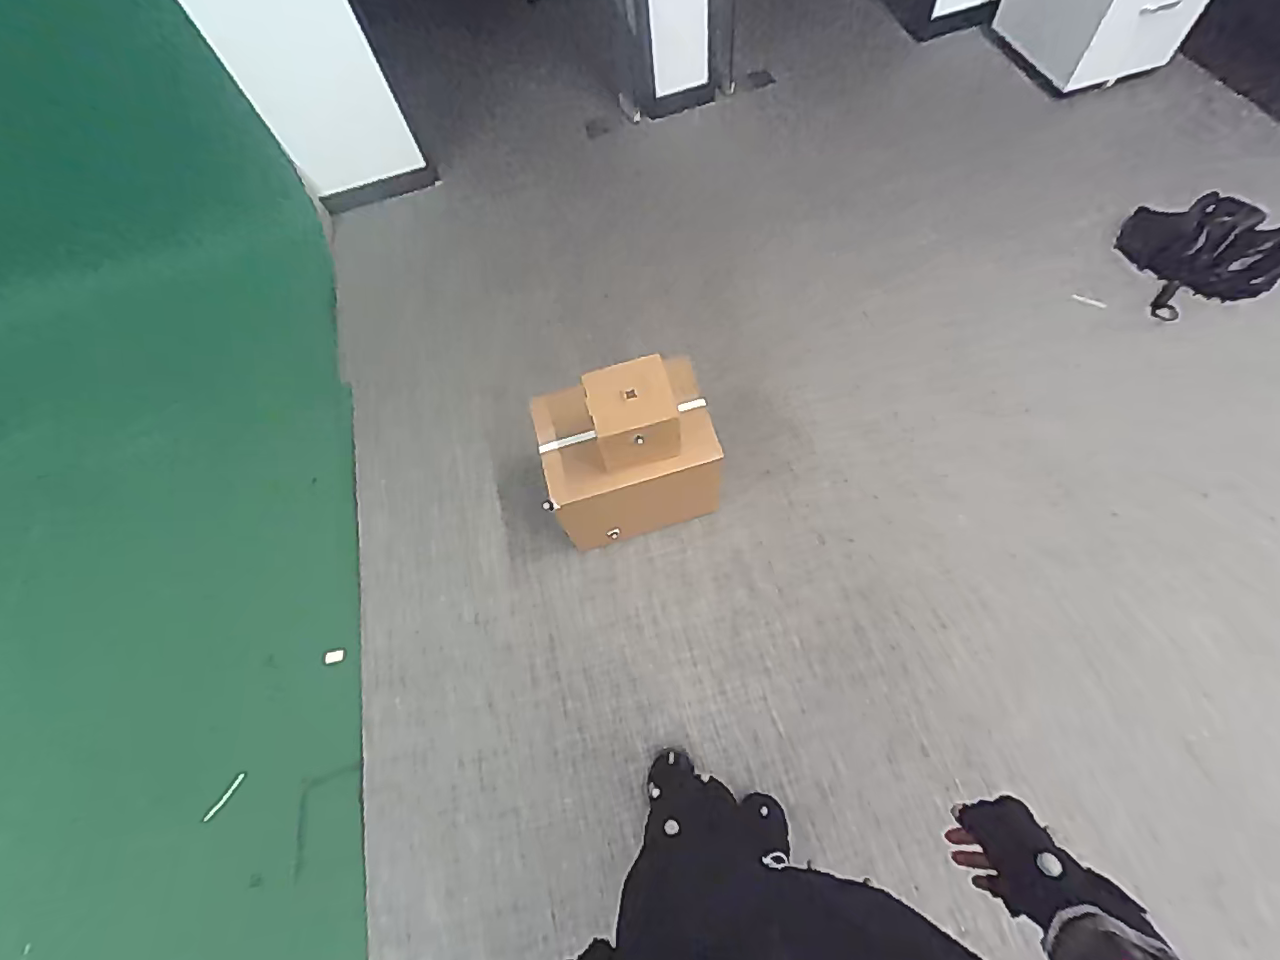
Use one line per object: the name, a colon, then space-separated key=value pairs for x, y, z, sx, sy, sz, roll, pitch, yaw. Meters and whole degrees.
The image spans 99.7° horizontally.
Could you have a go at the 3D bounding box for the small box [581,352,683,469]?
small box: x=-0.013 y=-0.144 z=1.181 sx=0.179 sy=0.176 sz=0.168 roll=-17 pitch=65 yaw=-1
